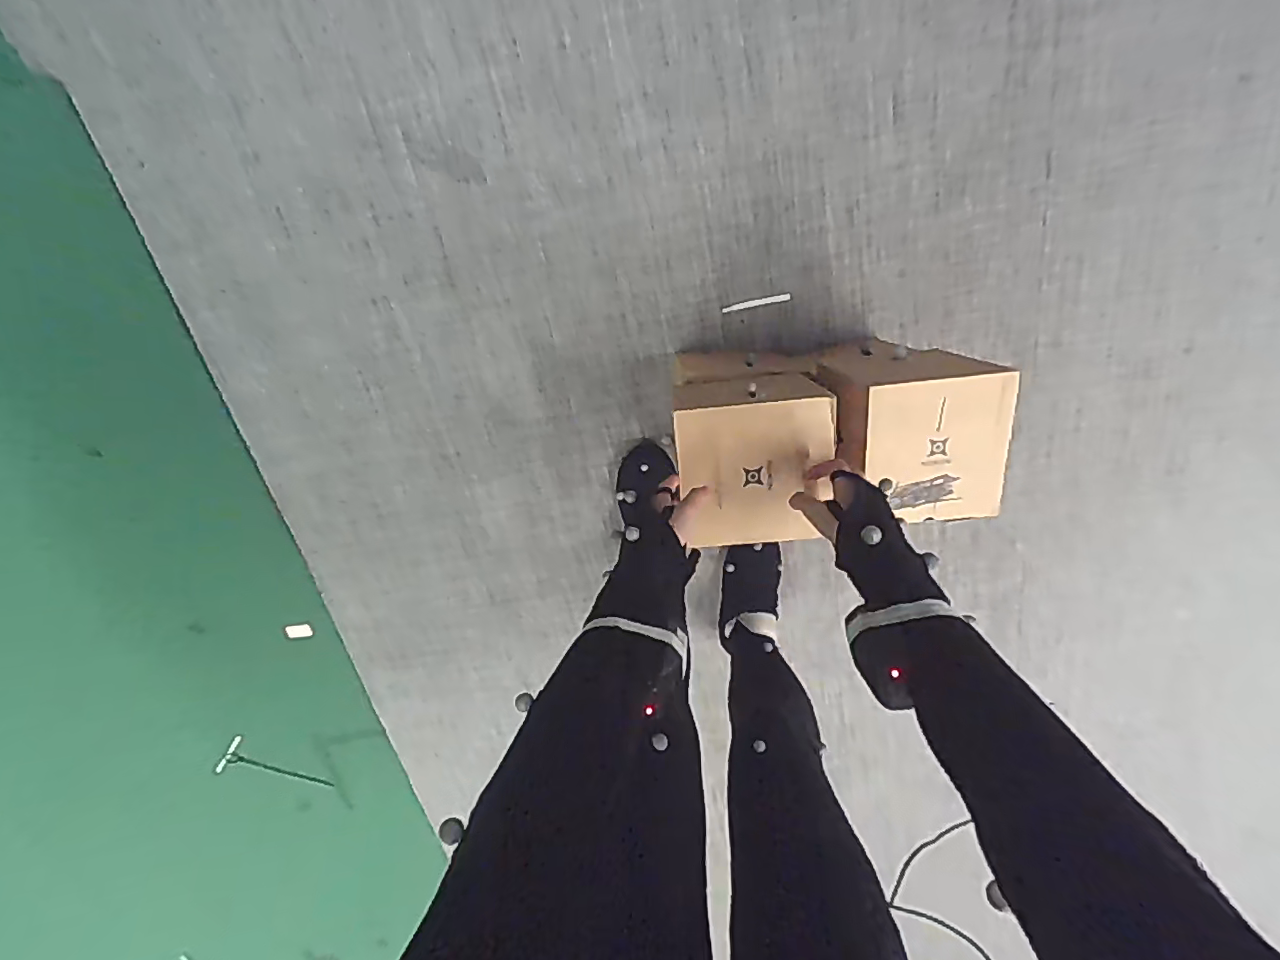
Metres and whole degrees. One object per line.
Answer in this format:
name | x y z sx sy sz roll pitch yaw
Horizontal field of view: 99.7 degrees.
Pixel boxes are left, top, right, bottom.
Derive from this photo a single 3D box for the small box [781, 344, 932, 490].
small box | 0.327 -0.107 0.839 0.168 0.176 0.179 -12 112 2
